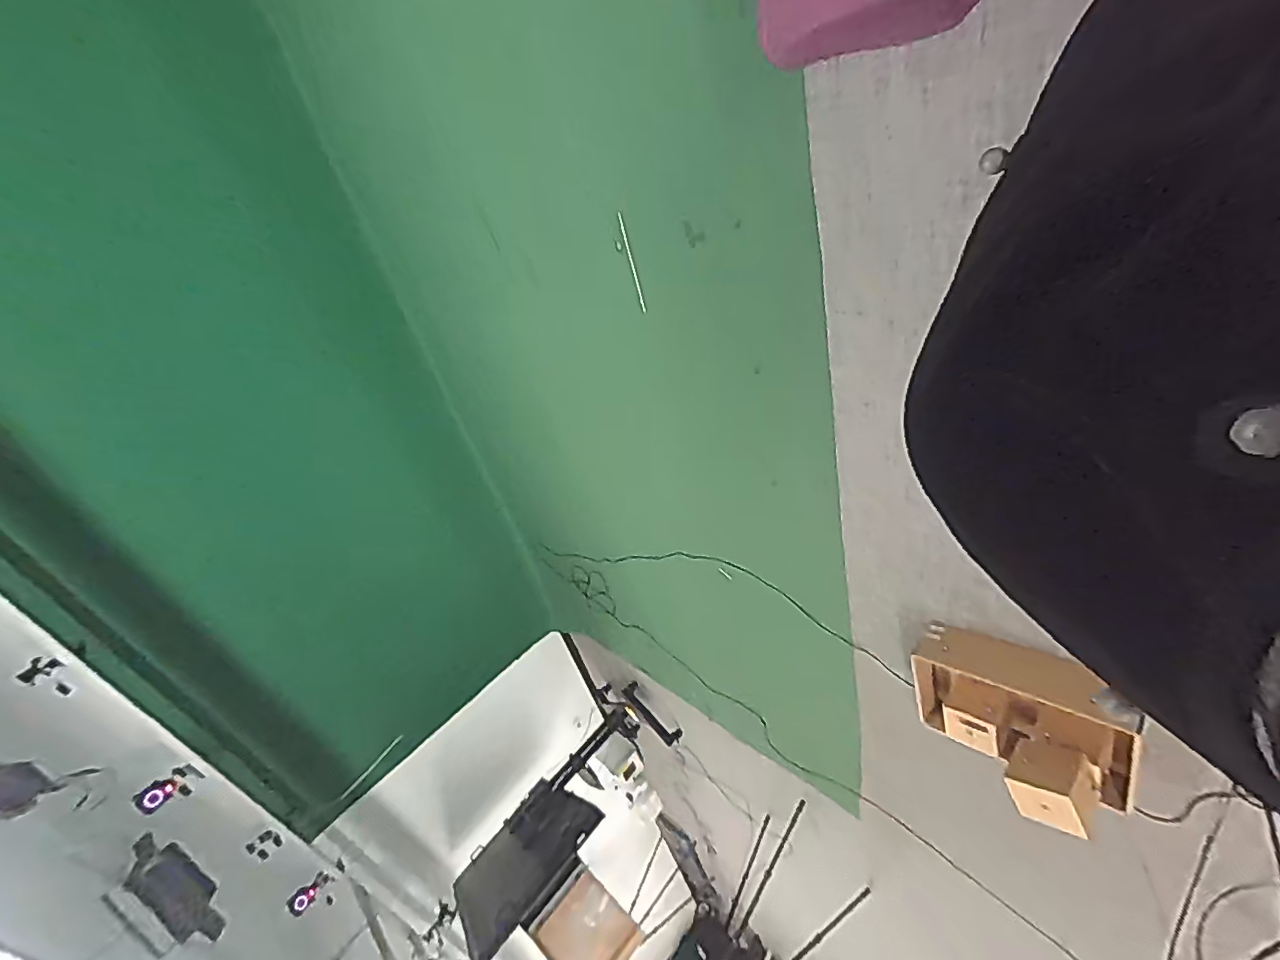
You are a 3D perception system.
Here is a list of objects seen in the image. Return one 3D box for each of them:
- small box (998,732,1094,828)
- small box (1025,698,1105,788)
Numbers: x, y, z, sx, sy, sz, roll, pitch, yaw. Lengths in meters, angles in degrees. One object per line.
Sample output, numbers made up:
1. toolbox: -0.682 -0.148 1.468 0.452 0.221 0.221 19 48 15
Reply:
1. small box: 1.254 0.914 1.668 0.179 0.176 0.168 -10 112 56
2. small box: 1.376 0.845 1.753 0.179 0.176 0.168 13 131 48
